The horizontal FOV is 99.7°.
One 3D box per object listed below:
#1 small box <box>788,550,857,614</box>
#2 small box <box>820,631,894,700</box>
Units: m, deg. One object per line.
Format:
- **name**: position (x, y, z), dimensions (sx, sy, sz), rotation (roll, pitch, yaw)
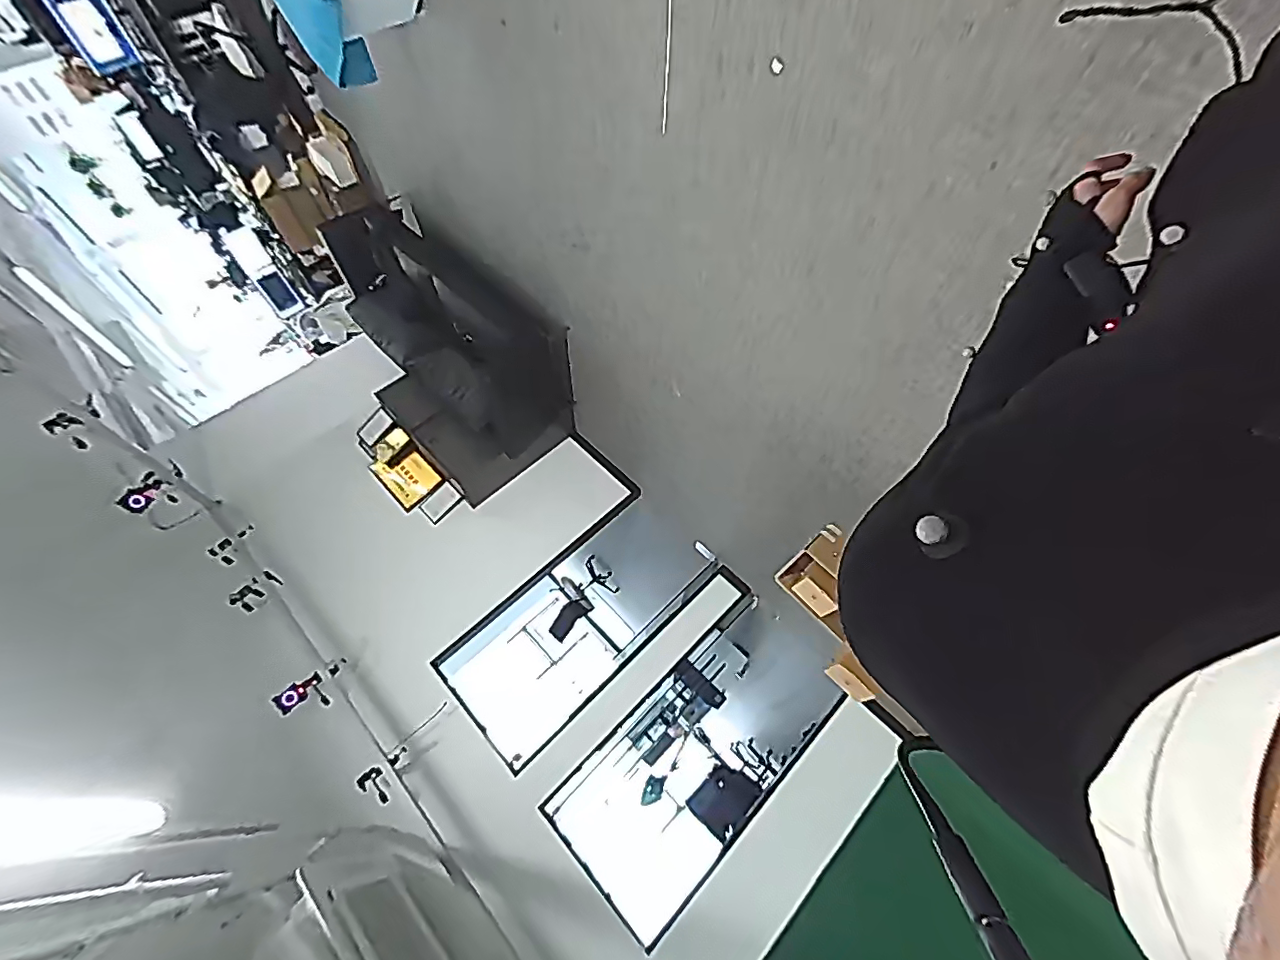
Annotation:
- **small box**: position (0.740, 0.413, 2.187), dimensions (0.168, 0.176, 0.179), rotation (45, 157, 14)
- **small box**: position (0.822, 0.702, 2.043), dimensions (0.168, 0.176, 0.179), rotation (42, 157, 17)
